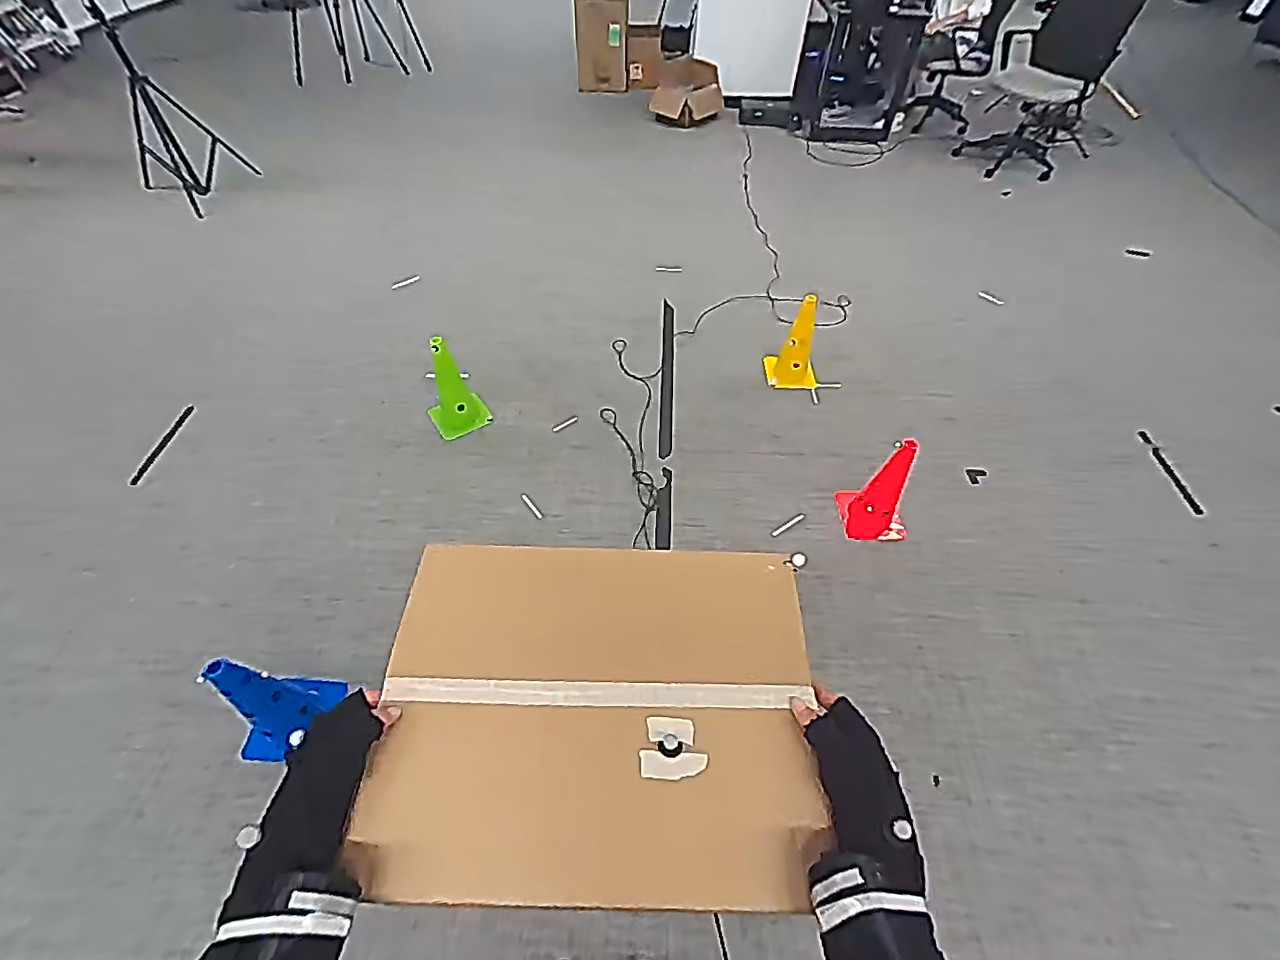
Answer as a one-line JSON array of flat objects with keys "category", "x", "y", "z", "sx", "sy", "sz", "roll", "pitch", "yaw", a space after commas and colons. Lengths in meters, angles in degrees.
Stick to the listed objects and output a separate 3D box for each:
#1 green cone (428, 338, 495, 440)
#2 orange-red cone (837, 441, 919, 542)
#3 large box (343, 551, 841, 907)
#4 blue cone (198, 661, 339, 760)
[{"category": "green cone", "x": -0.689, "y": -0.359, "z": 1.959, "sx": 0.202, "sy": 0.368, "sz": 0.200, "roll": -29, "pitch": 56, "yaw": -21}, {"category": "orange-red cone", "x": 0.778, "y": 0.013, "z": 1.687, "sx": 0.198, "sy": 0.360, "sz": 0.199, "roll": 1, "pitch": 49, "yaw": -2}, {"category": "large box", "x": -0.040, "y": 0.297, "z": 0.632, "sx": 0.408, "sy": 0.320, "sz": 0.320, "roll": 2, "pitch": 53, "yaw": 0}, {"category": "blue cone", "x": -0.887, "y": 0.511, "z": 1.262, "sx": 0.192, "sy": 0.380, "sz": 0.193, "roll": 4, "pitch": 50, "yaw": 4}]
